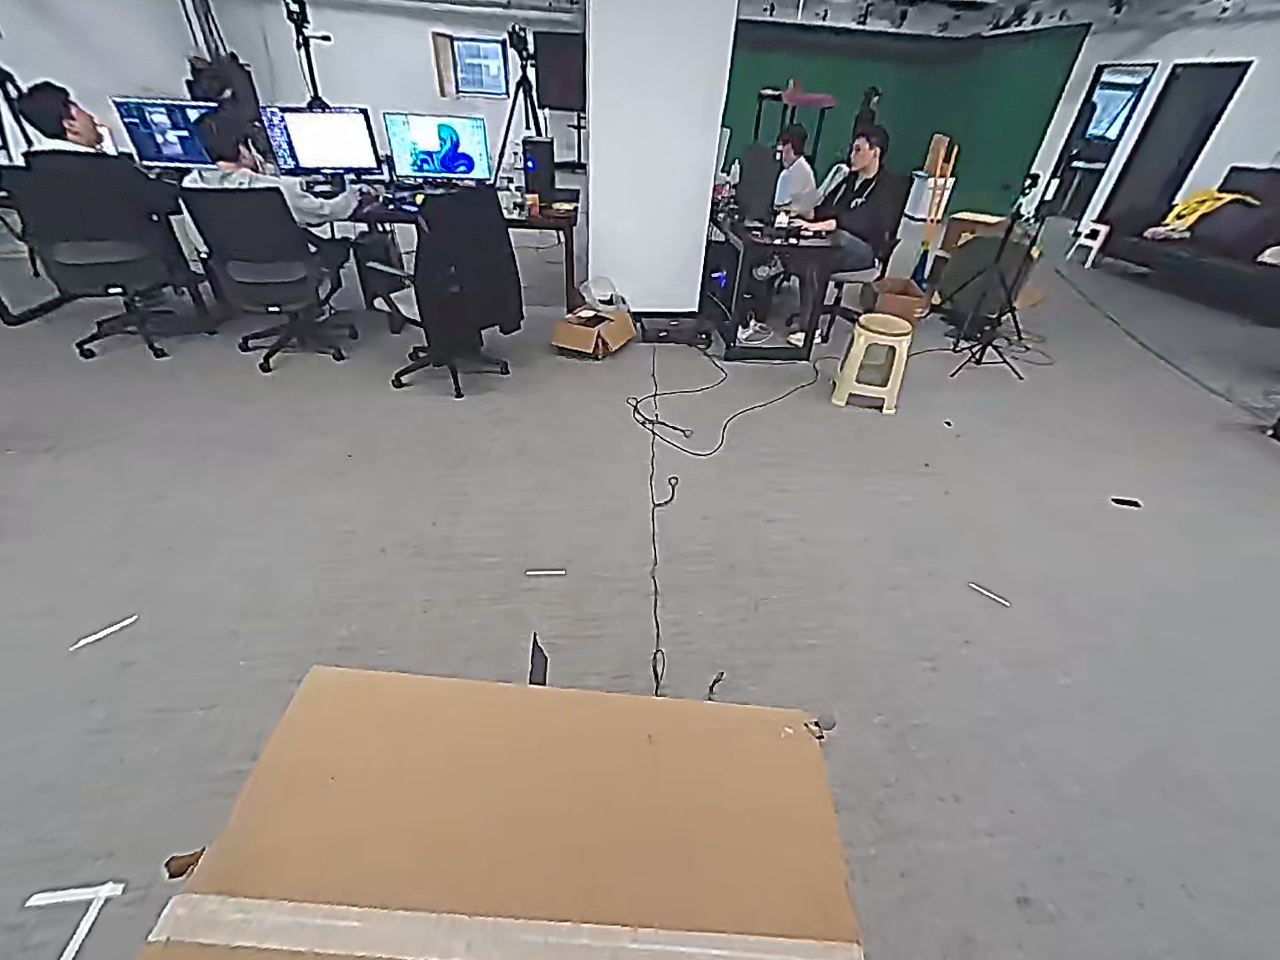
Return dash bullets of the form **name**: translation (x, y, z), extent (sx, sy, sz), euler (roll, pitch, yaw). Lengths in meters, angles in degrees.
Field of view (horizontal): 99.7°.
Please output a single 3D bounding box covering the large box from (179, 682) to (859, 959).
- **large box**: translation (-0.078, 0.389, 0.421), extent (0.408, 0.320, 0.320), euler (6, 42, -2)
